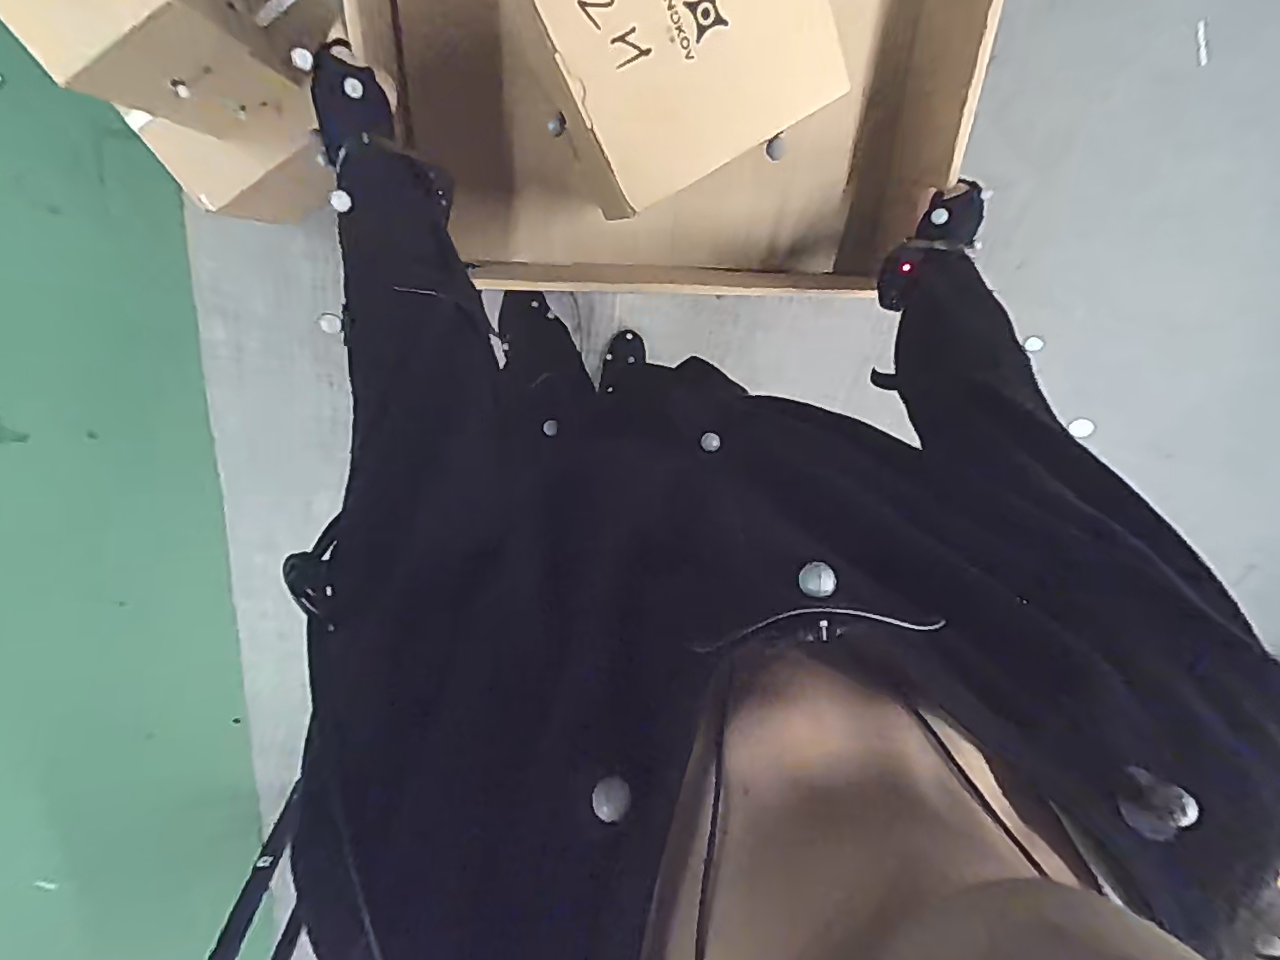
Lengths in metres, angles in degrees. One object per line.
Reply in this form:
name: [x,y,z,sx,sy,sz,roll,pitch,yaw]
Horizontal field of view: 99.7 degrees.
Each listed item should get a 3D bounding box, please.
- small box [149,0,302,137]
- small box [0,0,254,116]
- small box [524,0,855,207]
small box: [-0.645,-0.637,0.782,0.168,0.176,0.179,-28,113,4]
small box: [-0.619,-0.574,0.634,0.168,0.176,0.179,-30,112,6]
small box: [0.023,-0.330,0.408,0.179,0.176,0.168,-28,115,4]
